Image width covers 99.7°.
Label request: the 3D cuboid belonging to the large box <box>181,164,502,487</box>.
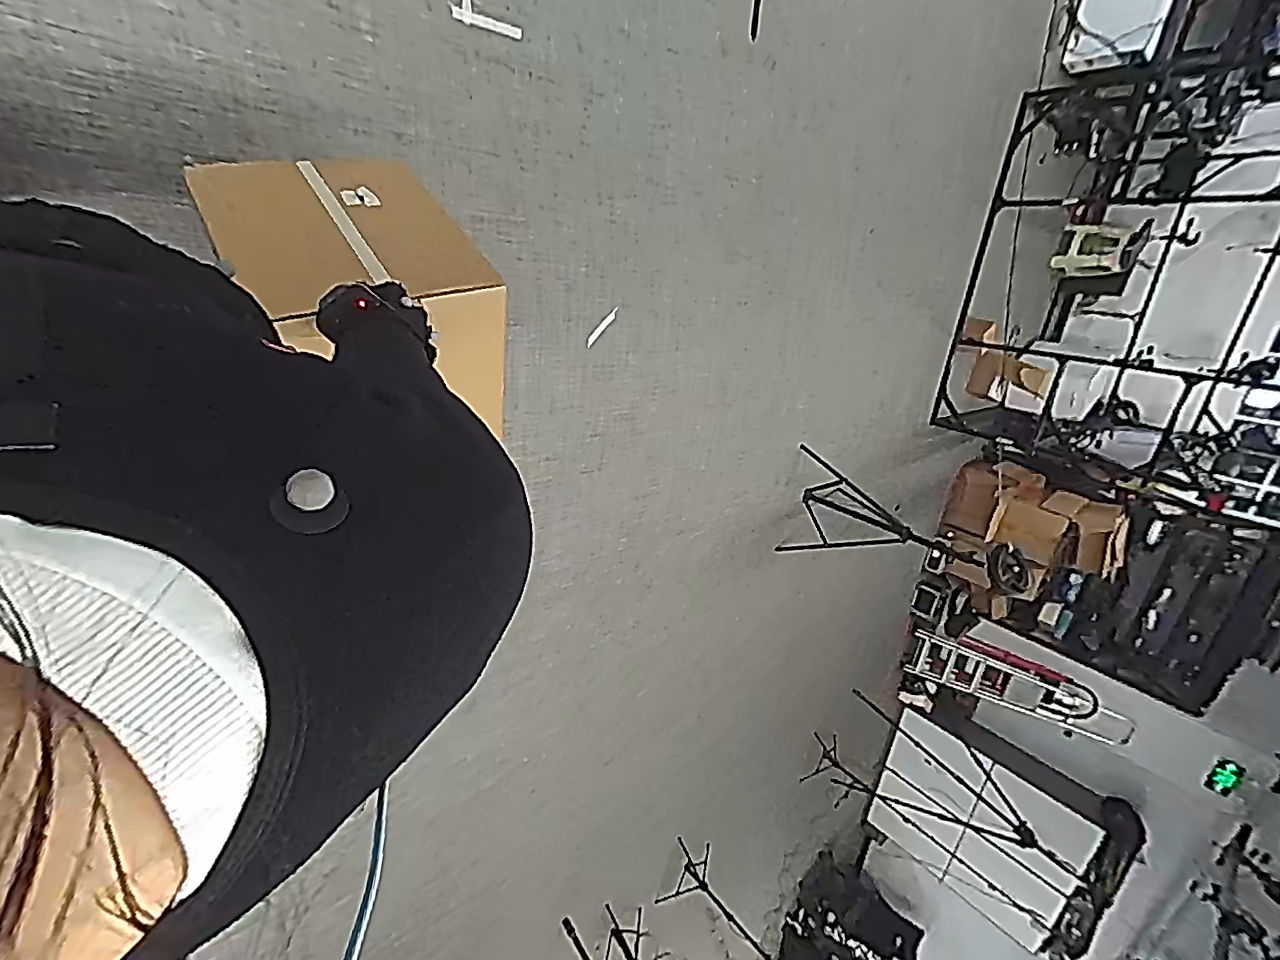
[{"bbox_3d":[-0.457,-0.263,0.884,0.320,0.408,0.320,-23,149,-32],"label":"large box"}]
